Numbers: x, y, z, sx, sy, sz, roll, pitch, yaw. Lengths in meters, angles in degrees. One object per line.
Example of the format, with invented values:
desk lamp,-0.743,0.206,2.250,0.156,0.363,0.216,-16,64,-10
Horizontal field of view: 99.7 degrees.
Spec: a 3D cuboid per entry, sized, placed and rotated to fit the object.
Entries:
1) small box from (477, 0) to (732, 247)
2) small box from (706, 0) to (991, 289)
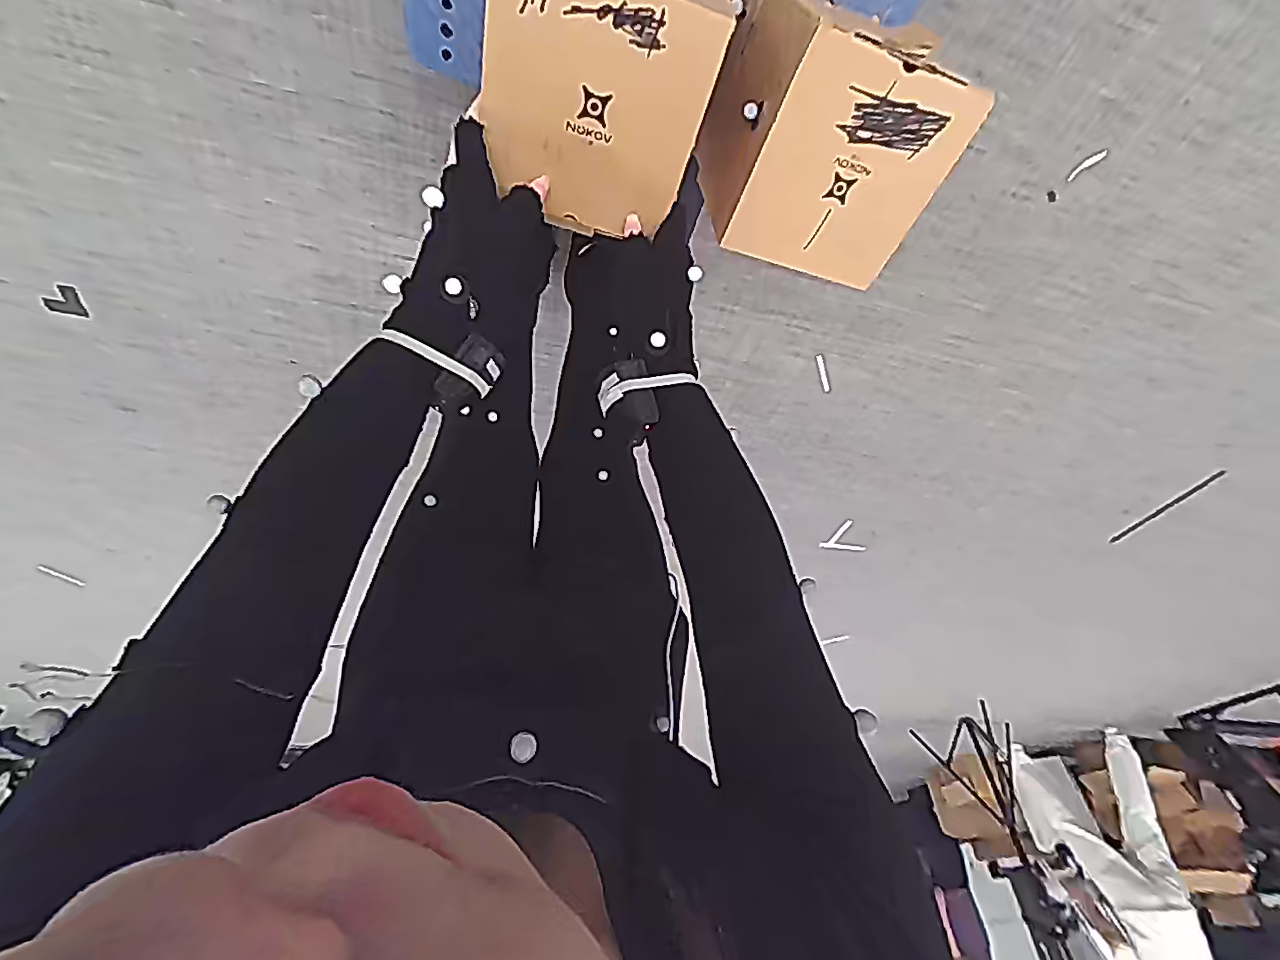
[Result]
small box,-0.035,-0.343,0.464,0.168,0.176,0.179,11,142,-14
small box,0.173,-0.321,0.518,0.168,0.176,0.179,10,138,-15
